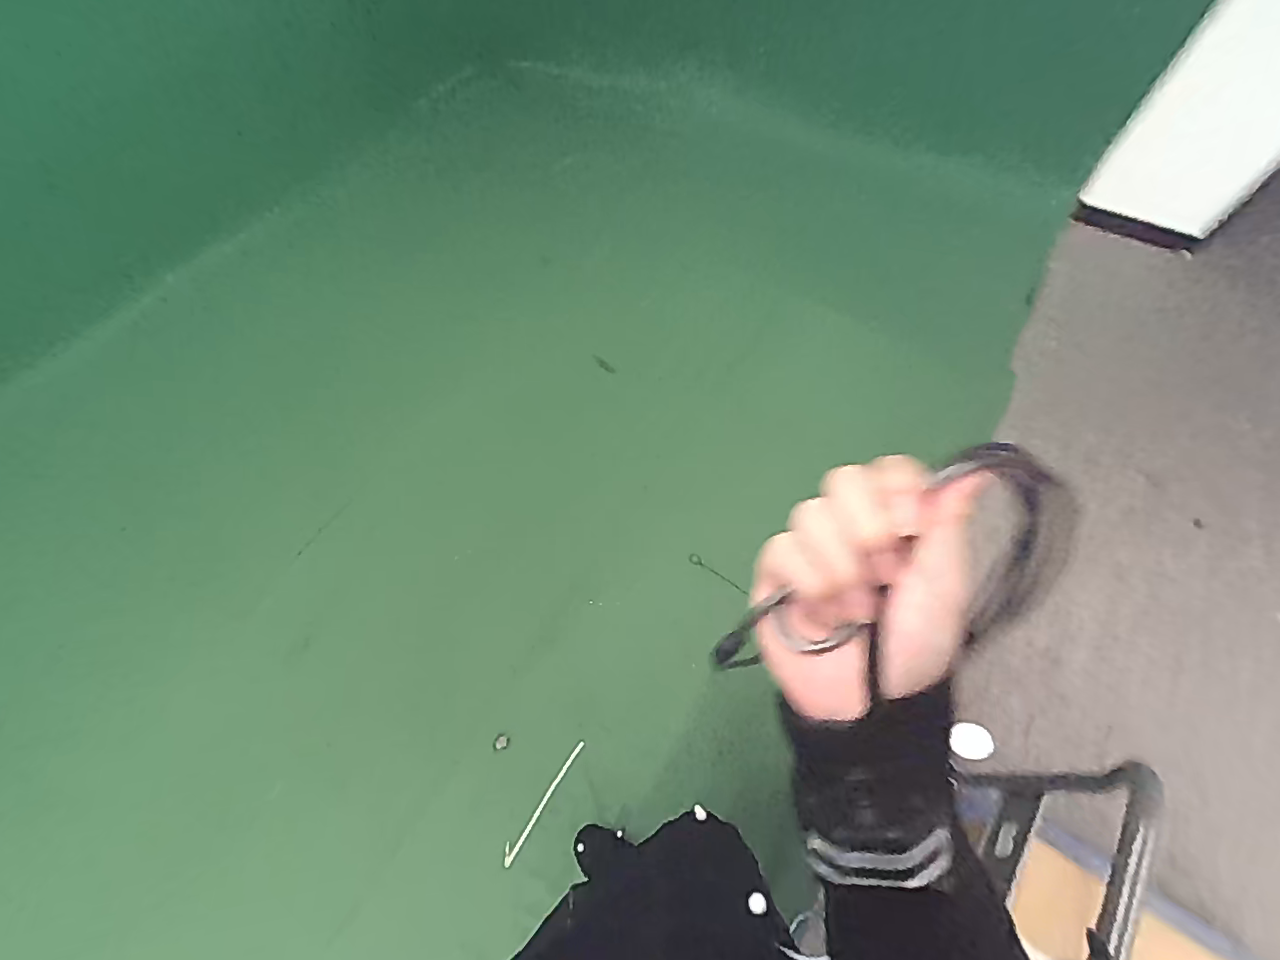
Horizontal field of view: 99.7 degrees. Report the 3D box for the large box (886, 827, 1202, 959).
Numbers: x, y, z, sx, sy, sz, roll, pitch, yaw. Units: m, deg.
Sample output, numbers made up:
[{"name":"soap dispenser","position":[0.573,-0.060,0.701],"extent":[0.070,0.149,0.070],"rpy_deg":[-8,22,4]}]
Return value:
[{"name":"large box","position":[0.710,0.880,0.927],"extent":[0.408,0.320,0.320],"rpy_deg":[31,67,15]}]
